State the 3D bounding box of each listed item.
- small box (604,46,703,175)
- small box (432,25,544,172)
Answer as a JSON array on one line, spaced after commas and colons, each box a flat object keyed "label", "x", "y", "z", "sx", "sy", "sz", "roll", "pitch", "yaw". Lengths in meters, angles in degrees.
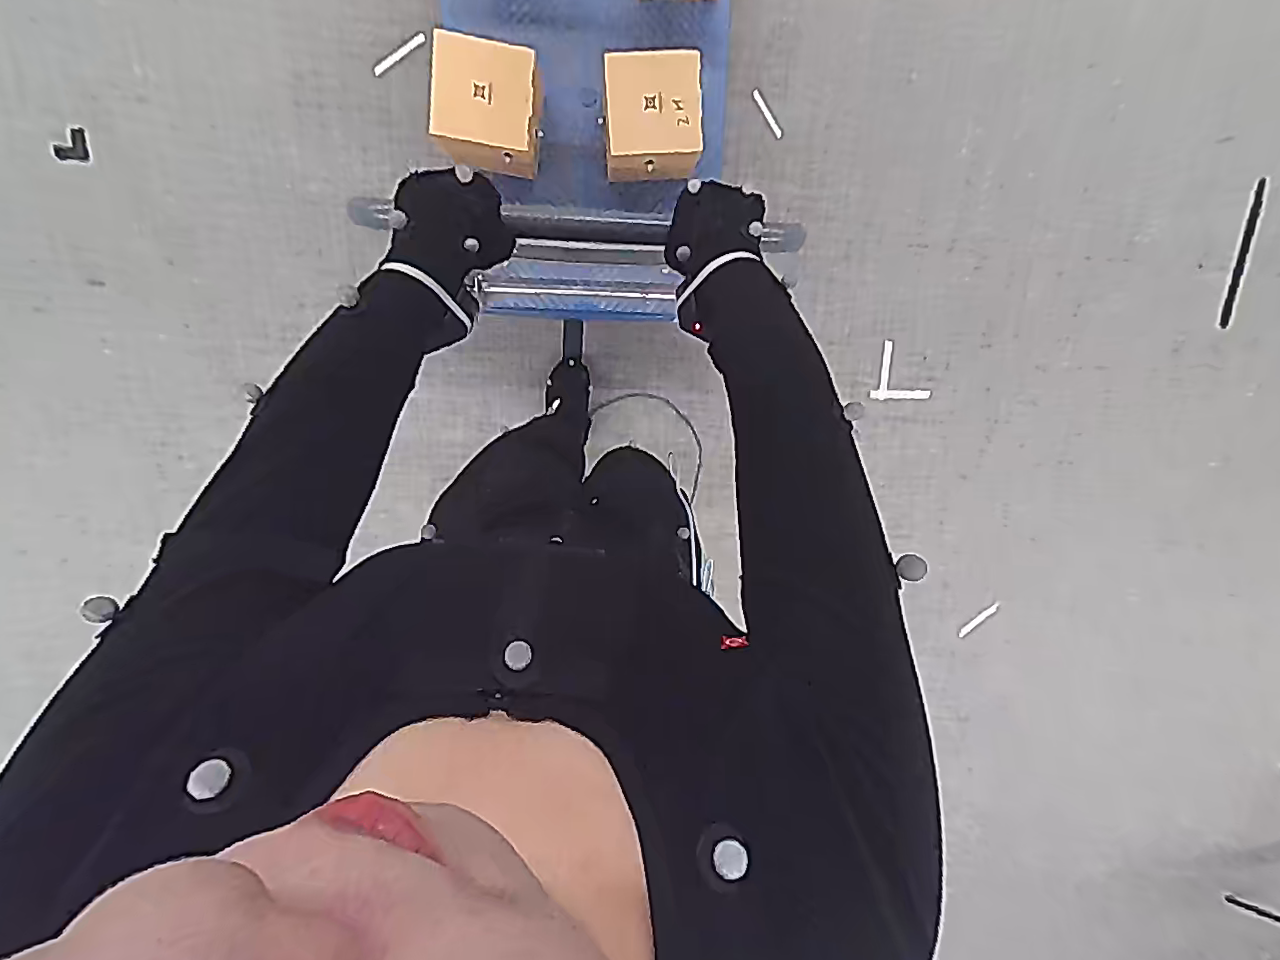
[{"label": "small box", "x": 0.022, "y": -0.713, "z": 1.061, "sx": 0.179, "sy": 0.176, "sz": 0.168, "roll": -4, "pitch": 105, "yaw": -4}, {"label": "small box", "x": -0.283, "y": -0.714, "z": 1.034, "sx": 0.179, "sy": 0.176, "sz": 0.168, "roll": 6, "pitch": 103, "yaw": -8}]
